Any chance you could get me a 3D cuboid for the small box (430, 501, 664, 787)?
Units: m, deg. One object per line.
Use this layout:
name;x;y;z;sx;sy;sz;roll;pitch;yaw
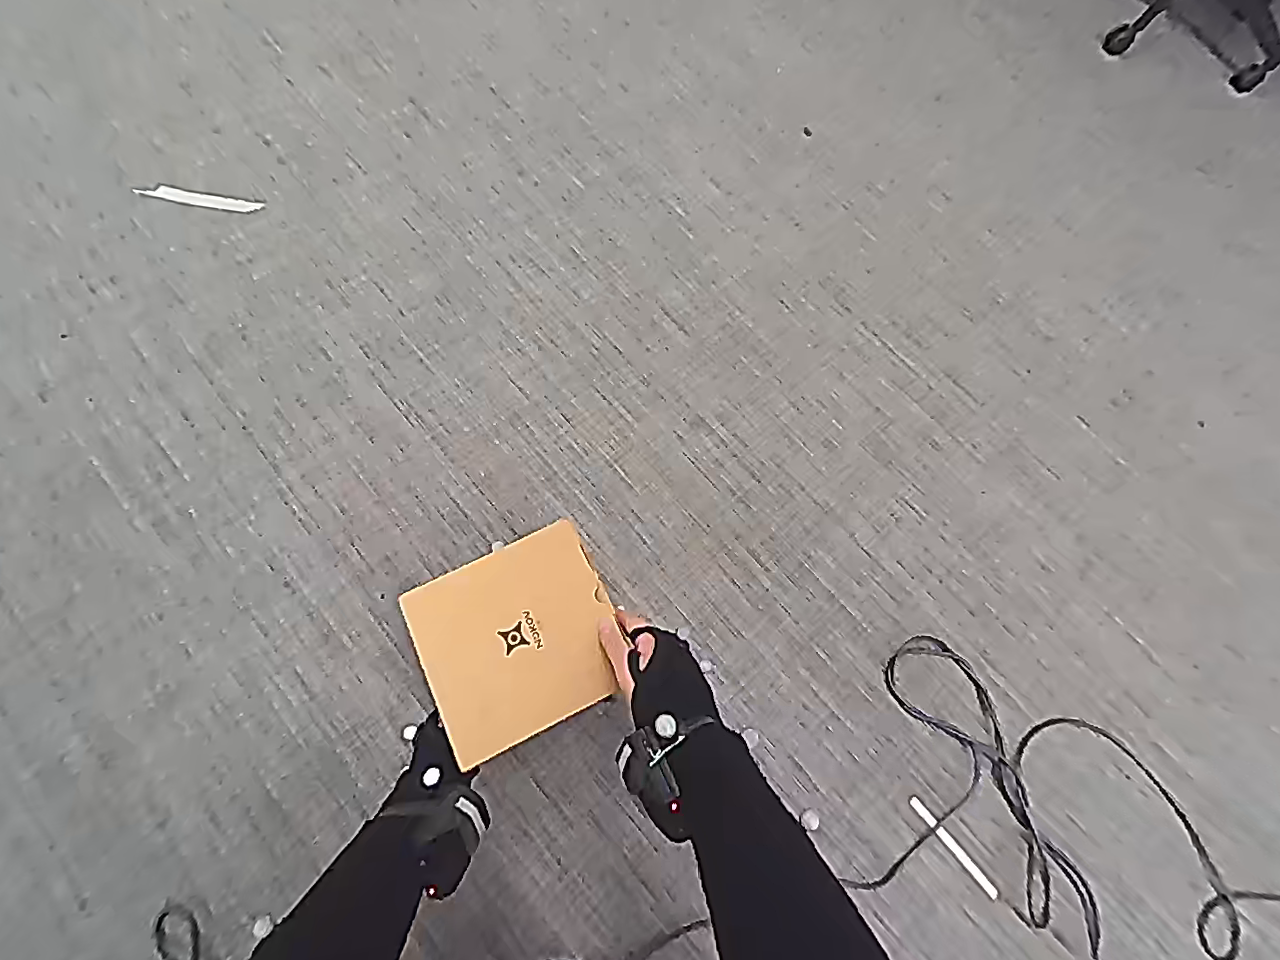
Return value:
small box;-0.091;0.153;0.526;0.168;0.176;0.179;-20;55;-26
